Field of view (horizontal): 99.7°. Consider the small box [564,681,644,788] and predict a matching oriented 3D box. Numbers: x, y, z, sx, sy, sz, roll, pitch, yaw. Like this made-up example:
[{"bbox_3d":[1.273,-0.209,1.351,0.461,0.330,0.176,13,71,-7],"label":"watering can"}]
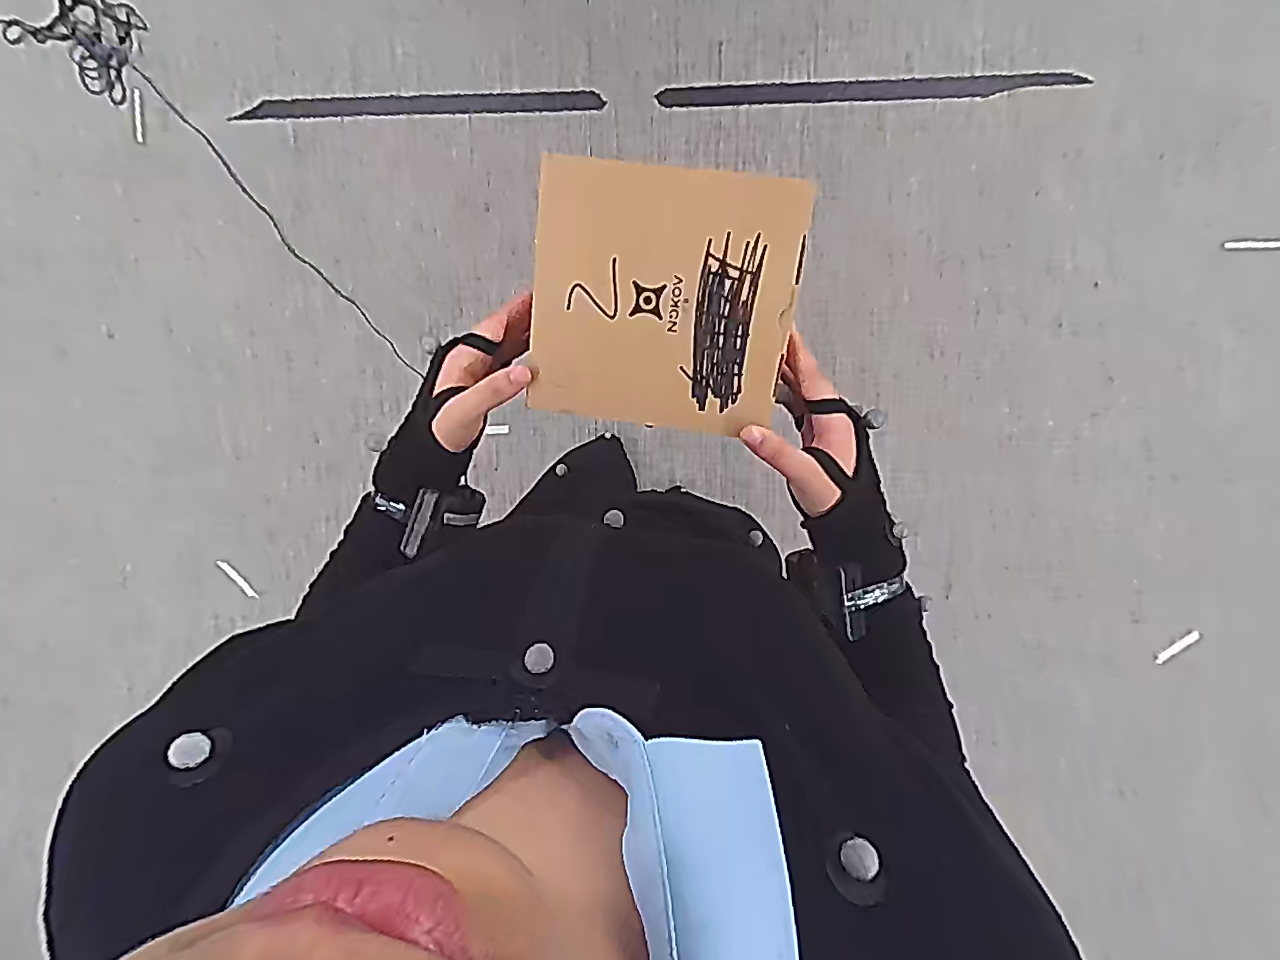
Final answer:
[{"bbox_3d":[-0.080,0.600,1.288,0.168,0.176,0.179,-2,94,4],"label":"small box"}]
